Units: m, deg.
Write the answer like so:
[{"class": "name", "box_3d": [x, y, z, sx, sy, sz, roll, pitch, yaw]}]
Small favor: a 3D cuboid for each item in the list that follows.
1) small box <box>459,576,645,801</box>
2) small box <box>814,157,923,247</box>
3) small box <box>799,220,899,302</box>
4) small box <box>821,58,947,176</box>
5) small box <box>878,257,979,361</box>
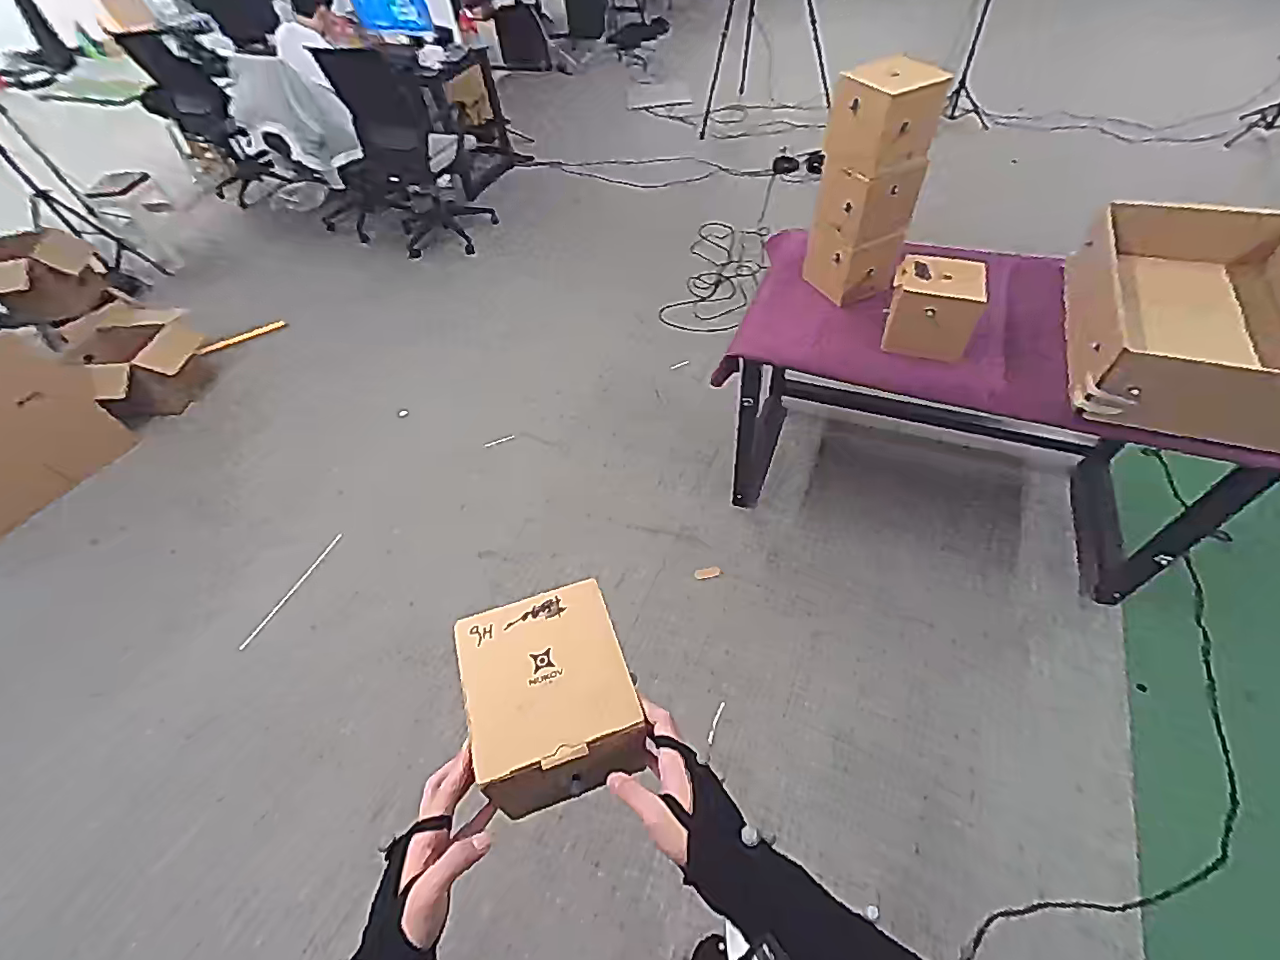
[{"class": "small box", "box_3d": [-0.095, 0.244, 0.619, 0.168, 0.176, 0.179, -14, 51, -12]}, {"class": "small box", "box_3d": [0.553, -0.707, 1.341, 0.179, 0.176, 0.168, -22, 54, -12]}, {"class": "small box", "box_3d": [0.559, -0.605, 1.468, 0.168, 0.176, 0.179, -22, 53, -12]}, {"class": "small box", "box_3d": [0.537, -0.809, 1.217, 0.168, 0.176, 0.179, -24, 54, -12]}, {"class": "small box", "box_3d": [0.685, -0.408, 1.297, 0.179, 0.176, 0.168, 14, 53, 16]}]
